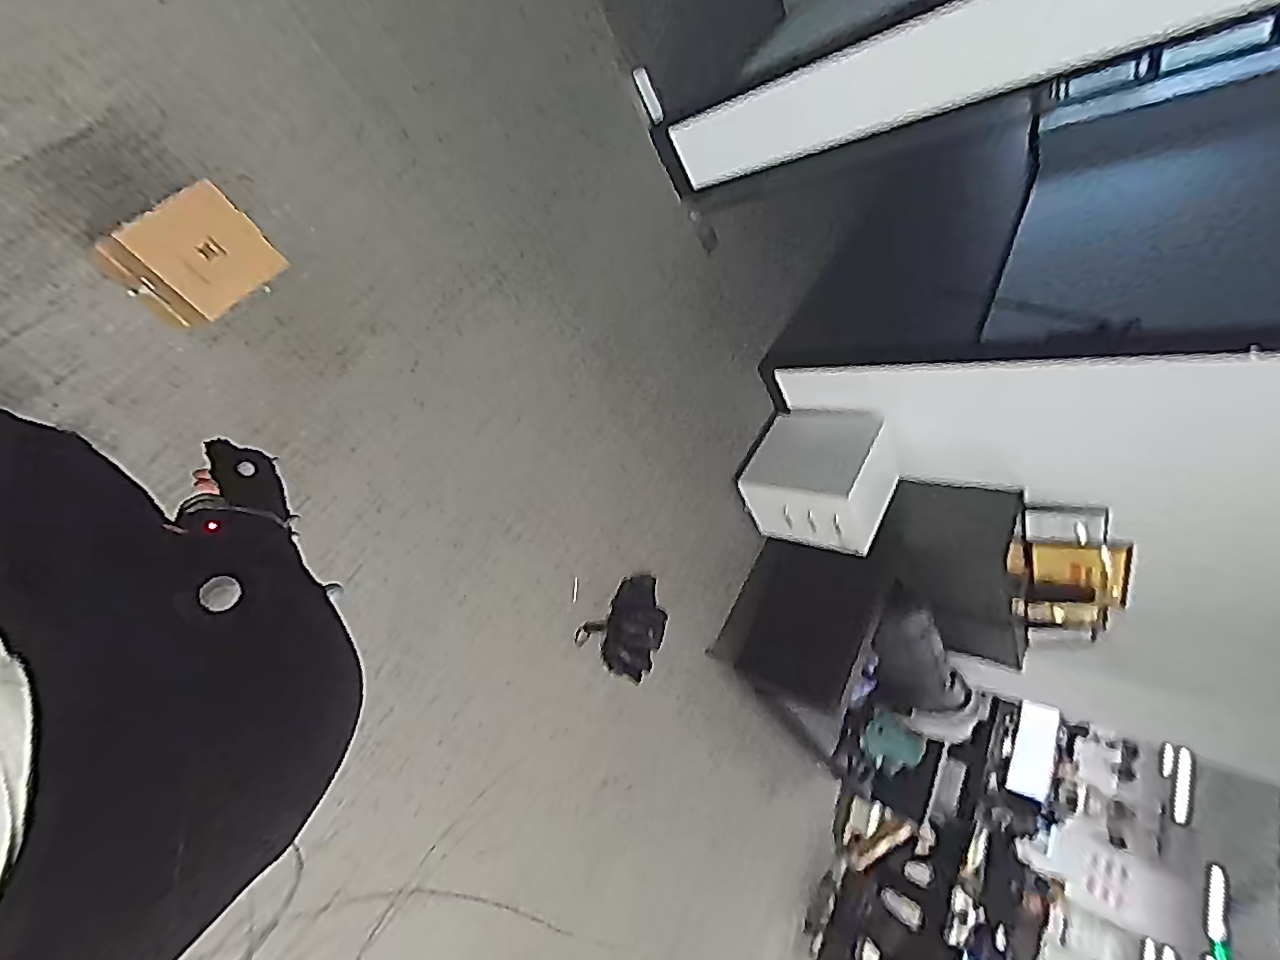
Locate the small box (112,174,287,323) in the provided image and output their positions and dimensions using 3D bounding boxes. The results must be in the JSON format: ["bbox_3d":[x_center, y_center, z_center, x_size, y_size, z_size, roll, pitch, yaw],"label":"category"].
[{"bbox_3d":[-0.784,-0.402,0.959,0.179,0.176,0.168,-56,130,-24],"label":"small box"}]

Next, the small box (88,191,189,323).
[{"bbox_3d":[-0.912,-0.423,1.055,0.168,0.176,0.179,-56,131,-26],"label":"small box"}]
